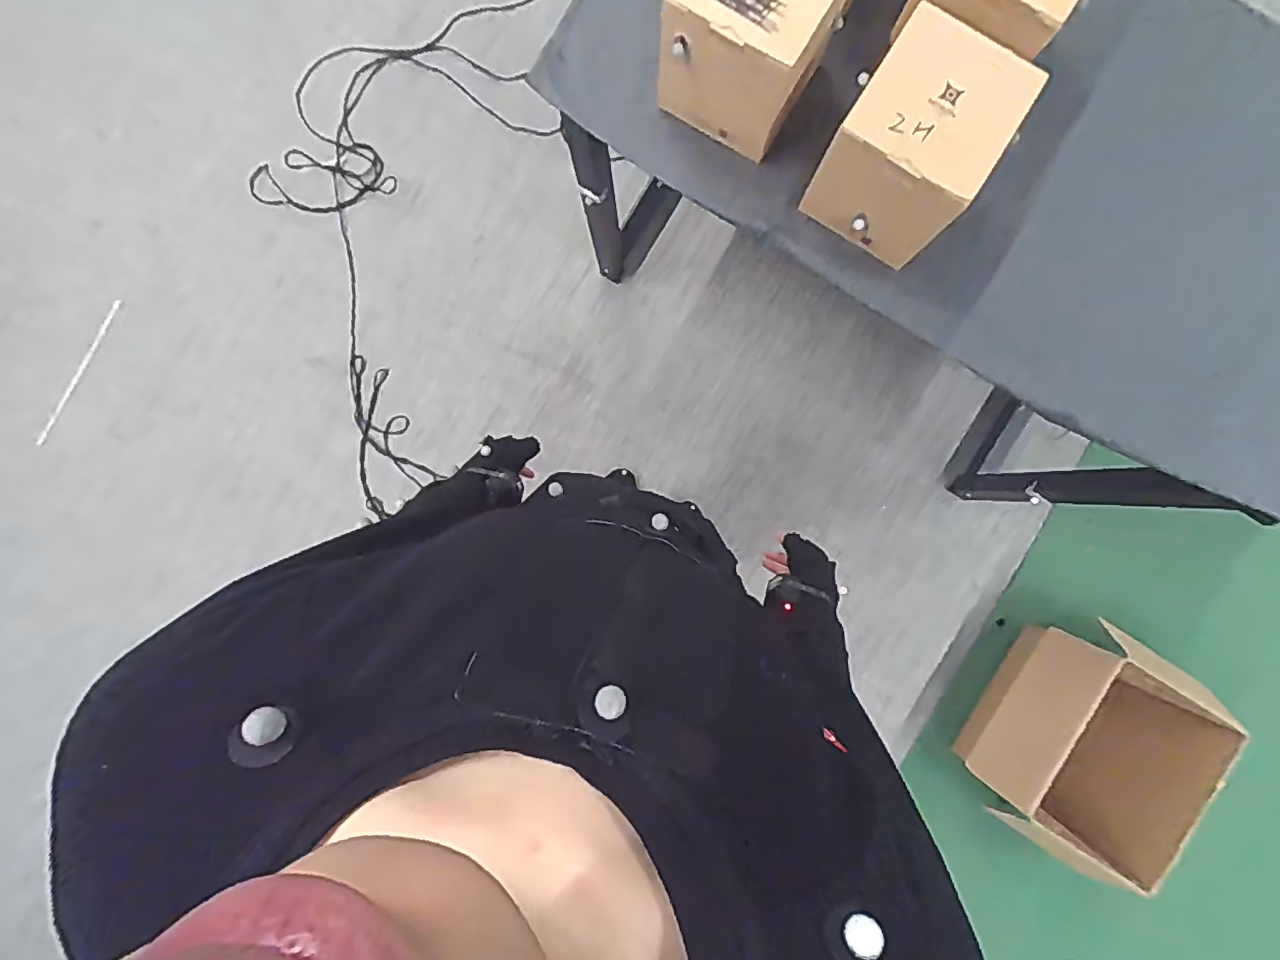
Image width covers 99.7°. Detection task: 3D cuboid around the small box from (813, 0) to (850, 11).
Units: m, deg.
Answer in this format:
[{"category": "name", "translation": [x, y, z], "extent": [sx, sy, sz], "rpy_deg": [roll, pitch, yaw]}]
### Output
[{"category": "small box", "translation": [0.252, -0.760, 0.679], "extent": [0.168, 0.176, 0.179], "rpy_deg": [30, 89, 1]}]

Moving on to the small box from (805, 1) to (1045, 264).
[{"category": "small box", "translation": [0.333, -0.411, 0.671], "extent": [0.168, 0.176, 0.179], "rpy_deg": [32, 88, 1]}]

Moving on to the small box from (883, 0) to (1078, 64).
[{"category": "small box", "translation": [0.442, -0.613, 0.676], "extent": [0.168, 0.176, 0.179], "rpy_deg": [33, 91, 1]}]
